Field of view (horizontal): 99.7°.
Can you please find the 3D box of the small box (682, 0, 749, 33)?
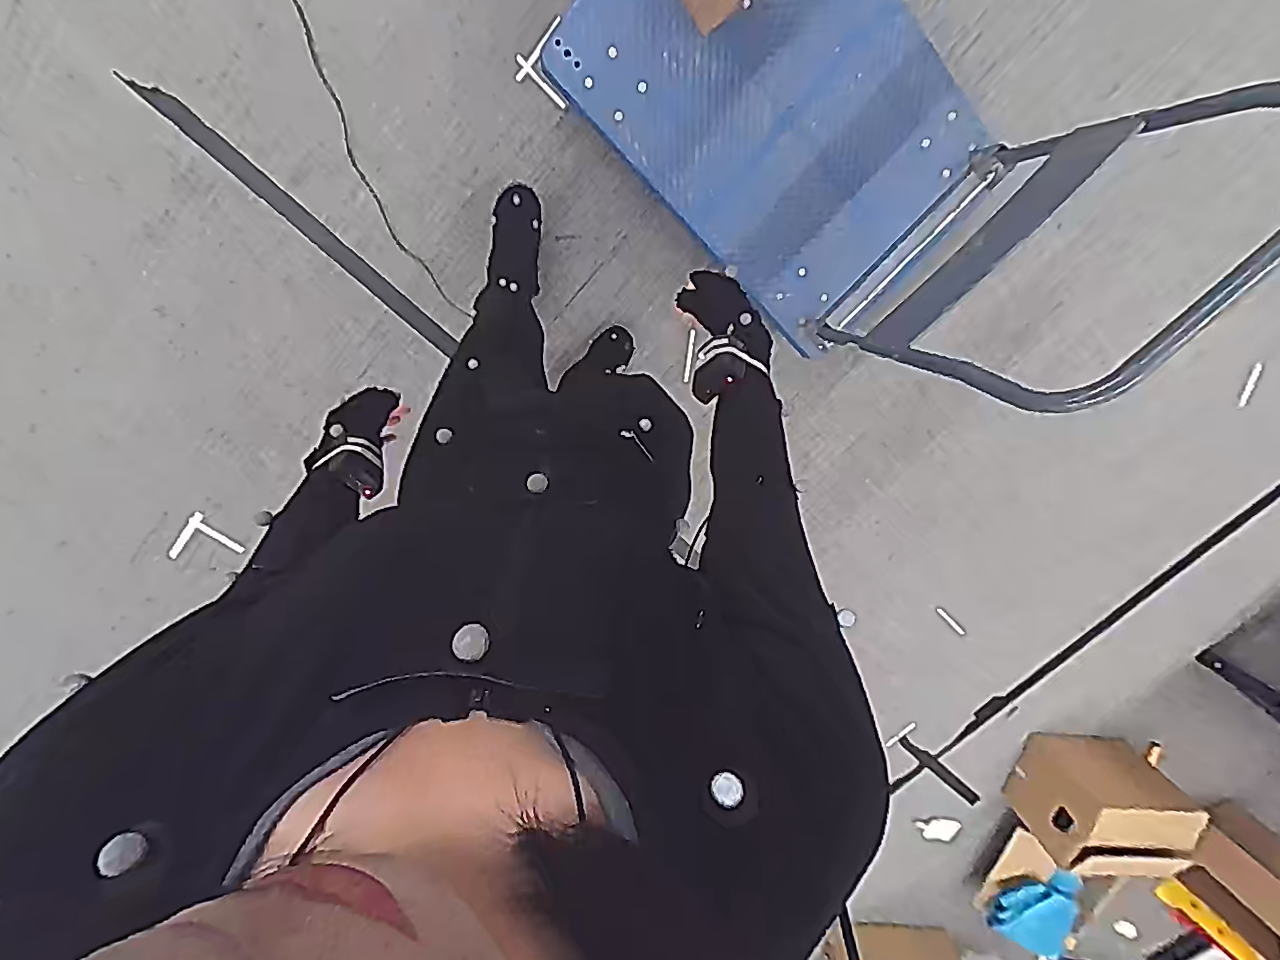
[{"bbox_3d":[0.142,-0.938,0.934,0.168,0.176,0.179,-36,111,9],"label":"small box"}]
